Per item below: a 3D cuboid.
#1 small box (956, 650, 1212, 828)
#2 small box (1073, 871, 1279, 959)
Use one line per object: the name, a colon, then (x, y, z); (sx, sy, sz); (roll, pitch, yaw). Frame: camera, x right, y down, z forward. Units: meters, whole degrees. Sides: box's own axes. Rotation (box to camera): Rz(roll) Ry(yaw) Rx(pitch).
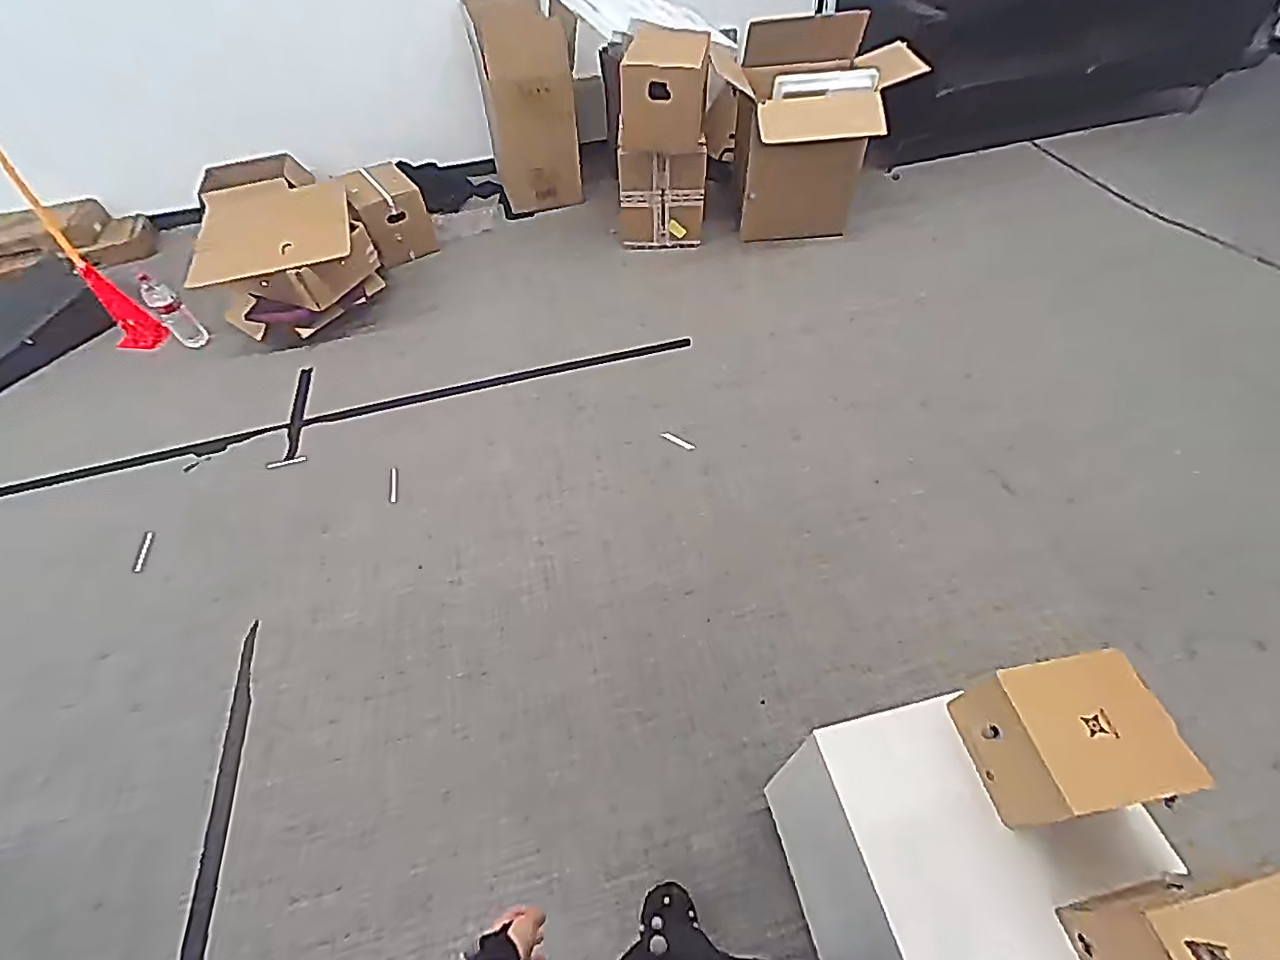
small box: (0.556, 0.347, 0.718); (0.179, 0.176, 0.168); (-9, 53, -4)
small box: (0.613, 0.535, 0.569); (0.179, 0.176, 0.168); (-11, 52, -5)
